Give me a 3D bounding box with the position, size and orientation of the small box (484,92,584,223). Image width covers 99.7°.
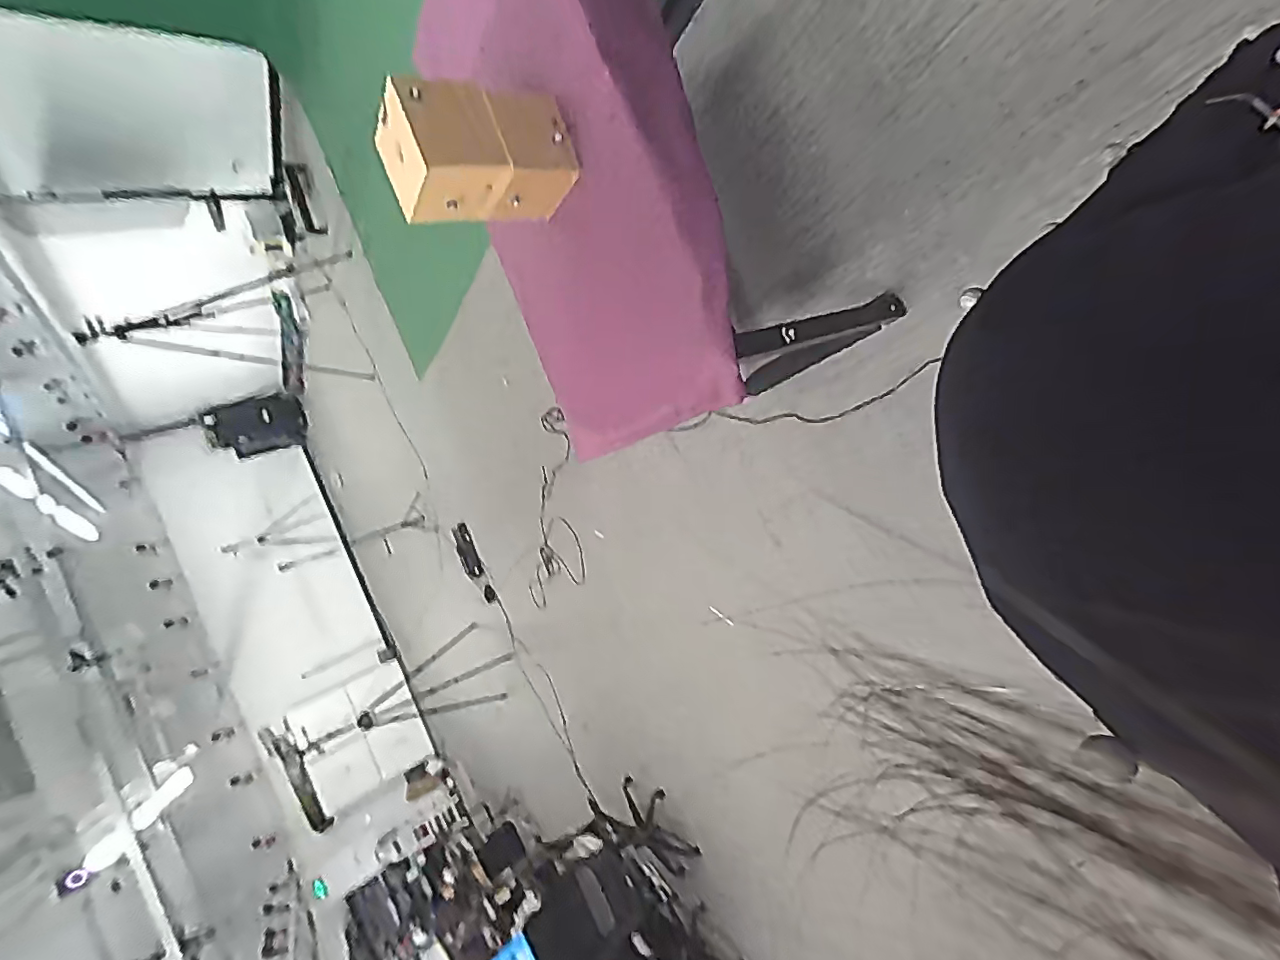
[{"bbox_3d":[-0.244,-0.662,1.131,0.179,0.176,0.168,-18,95,54],"label":"small box"}]

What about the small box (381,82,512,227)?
[{"bbox_3d":[-0.369,-0.617,1.038,0.168,0.176,0.179,-21,92,55],"label":"small box"}]
